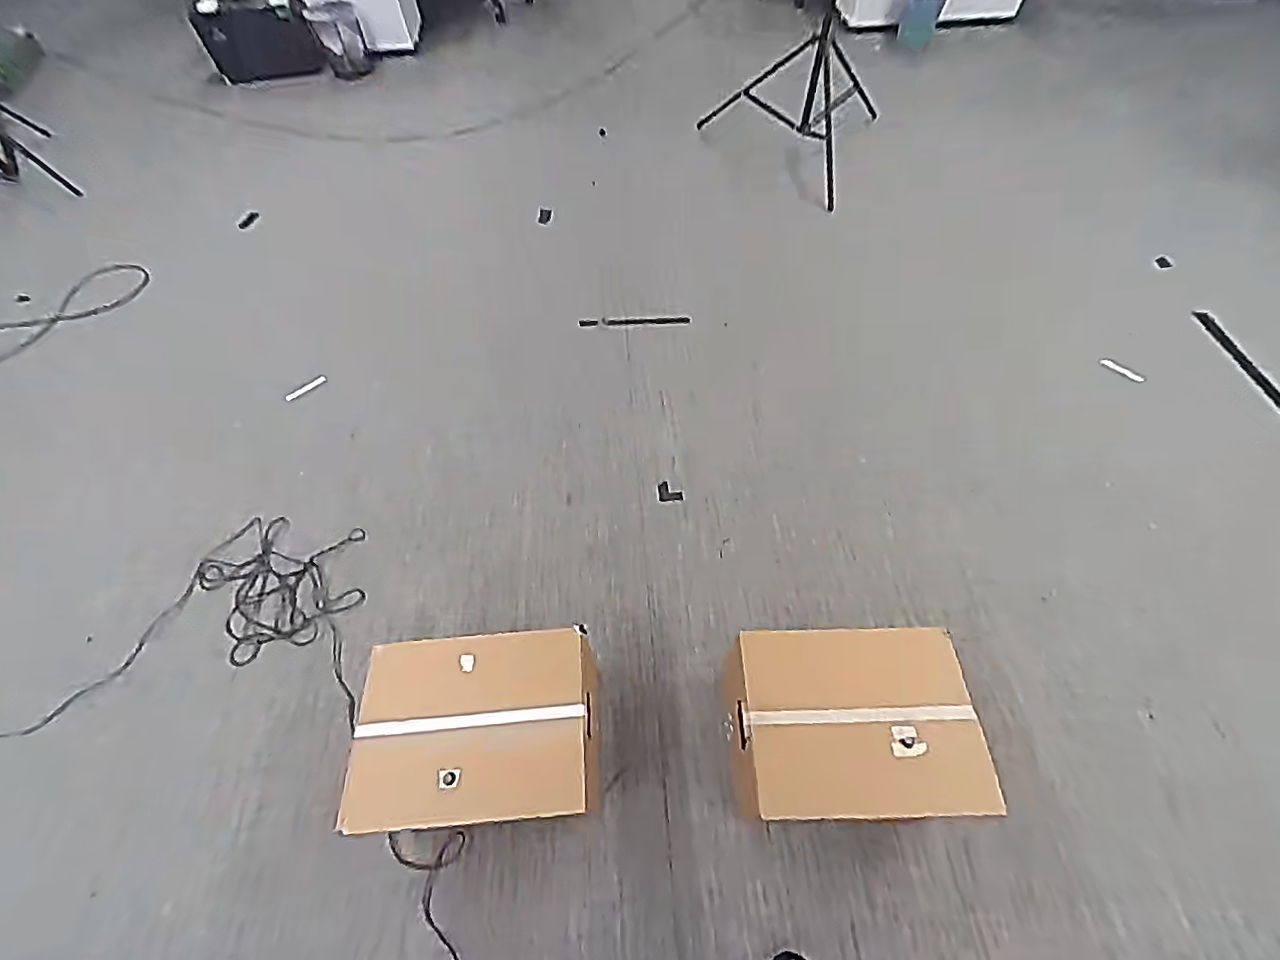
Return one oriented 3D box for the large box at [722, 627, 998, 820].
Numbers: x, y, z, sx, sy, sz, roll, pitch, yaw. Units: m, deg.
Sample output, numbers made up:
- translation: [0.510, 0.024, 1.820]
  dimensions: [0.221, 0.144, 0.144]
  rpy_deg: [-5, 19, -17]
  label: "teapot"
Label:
- translation: [0.396, 0.502, 1.100]
  dimensions: [0.408, 0.320, 0.320]
  rpy_deg: [-1, 57, 0]
  label: "large box"
